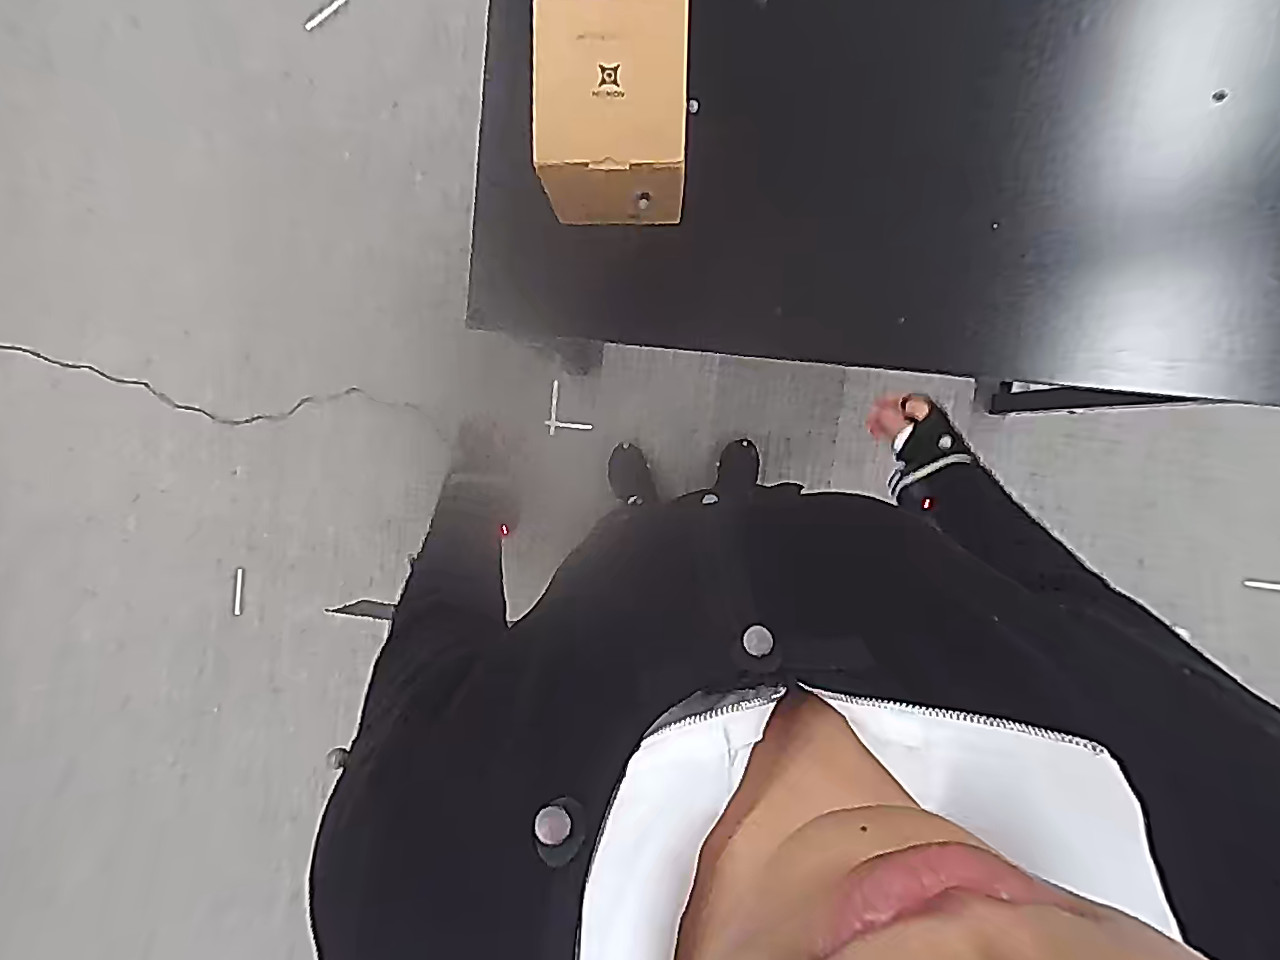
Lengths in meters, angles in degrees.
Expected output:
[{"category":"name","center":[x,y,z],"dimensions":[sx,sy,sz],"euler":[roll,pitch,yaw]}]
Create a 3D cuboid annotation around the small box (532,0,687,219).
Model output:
[{"category":"small box","center":[-0.031,-0.433,0.652],"dimensions":[0.168,0.176,0.179],"euler":[1,94,1]}]
